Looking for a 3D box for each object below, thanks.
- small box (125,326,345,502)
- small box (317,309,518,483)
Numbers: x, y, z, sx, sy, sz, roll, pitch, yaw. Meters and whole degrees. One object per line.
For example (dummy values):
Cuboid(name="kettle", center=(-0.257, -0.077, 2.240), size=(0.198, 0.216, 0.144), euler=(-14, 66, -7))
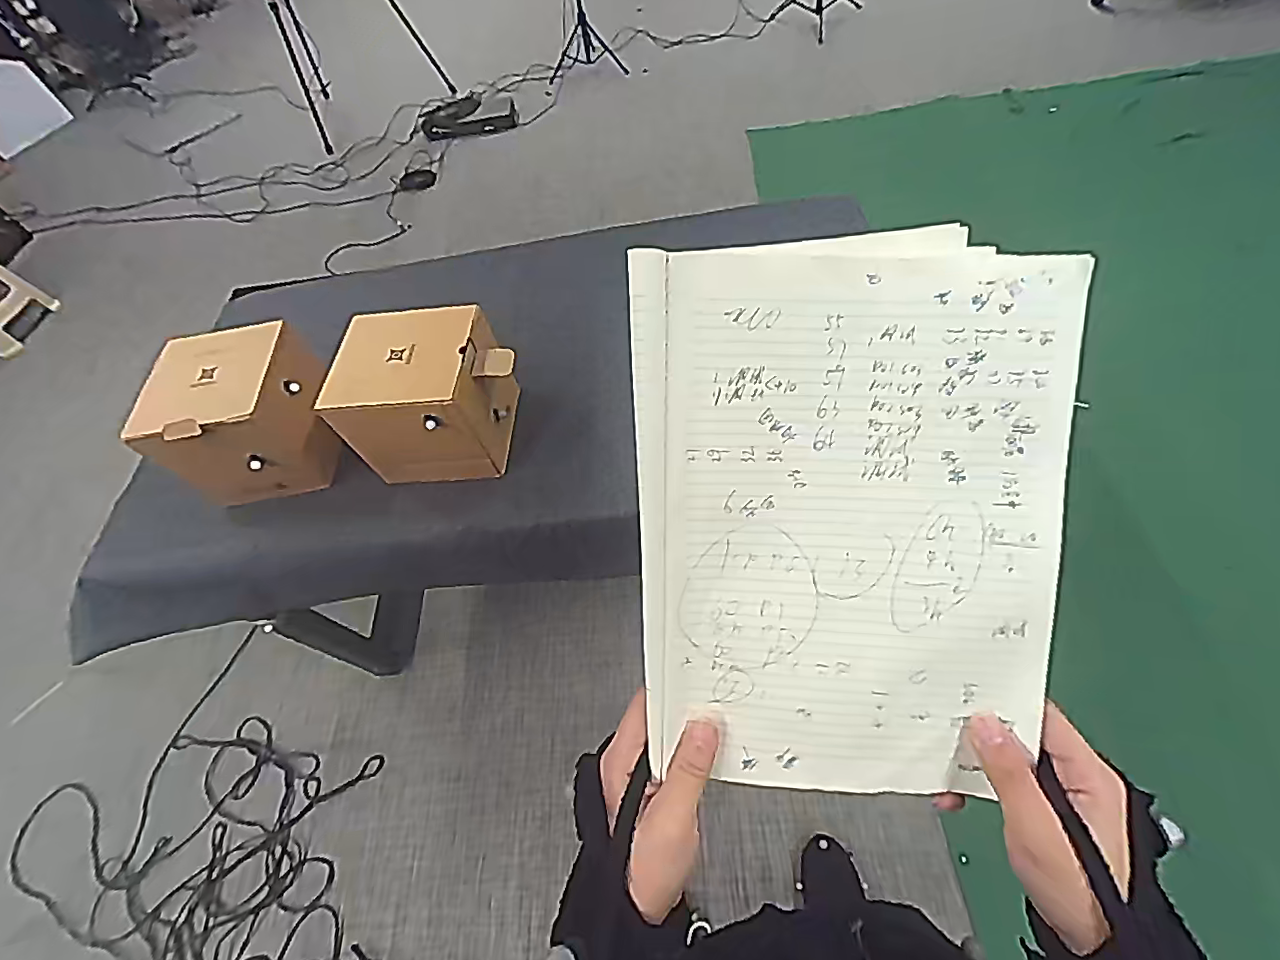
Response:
Cuboid(name="small box", center=(-0.541, -0.084, 0.760), size=(0.168, 0.176, 0.179), euler=(-10, 55, 1))
Cuboid(name="small box", center=(-0.284, -0.106, 0.736), size=(0.179, 0.176, 0.168), euler=(-3, 56, 6))
